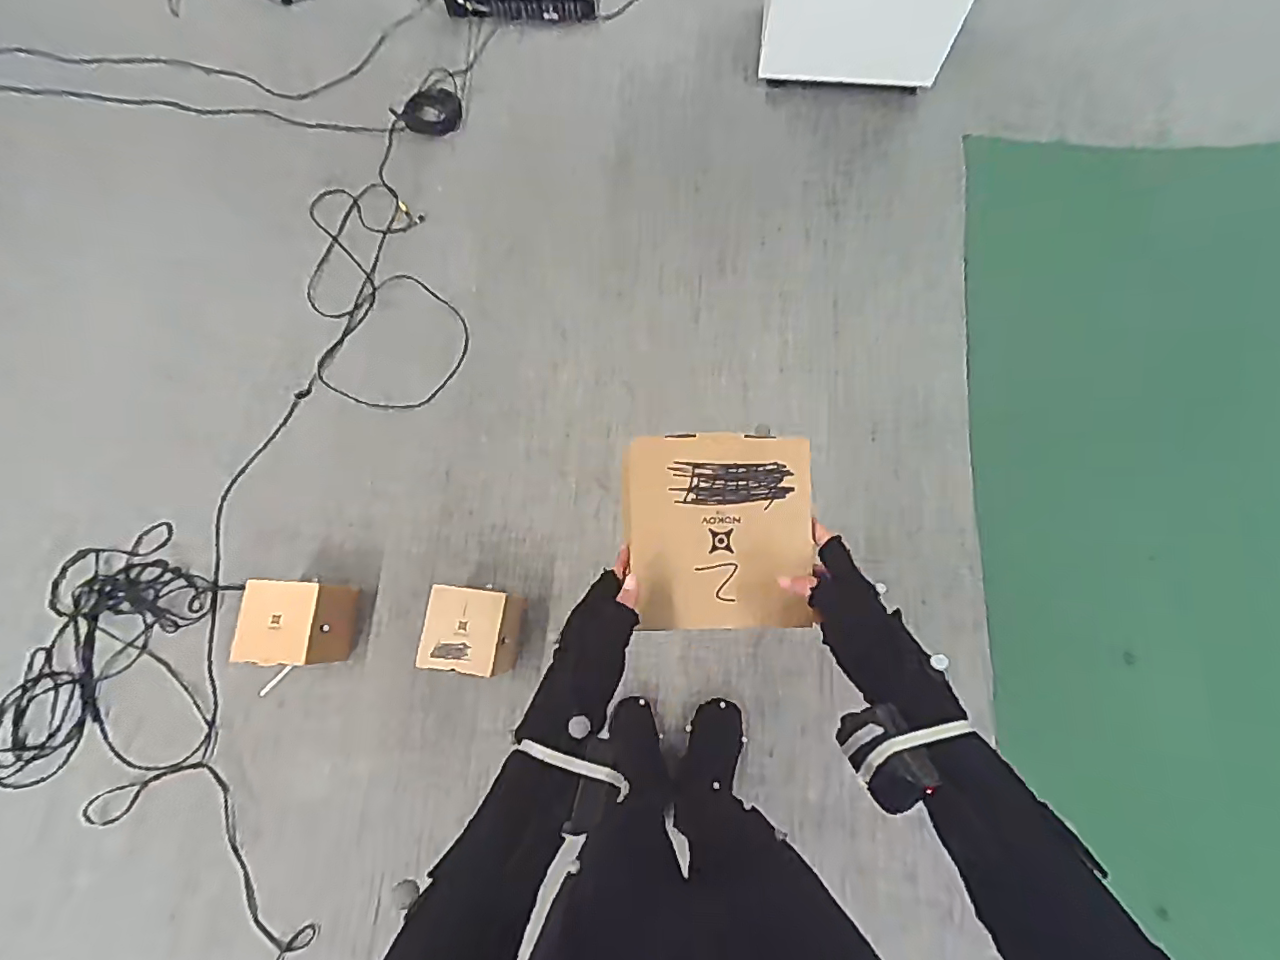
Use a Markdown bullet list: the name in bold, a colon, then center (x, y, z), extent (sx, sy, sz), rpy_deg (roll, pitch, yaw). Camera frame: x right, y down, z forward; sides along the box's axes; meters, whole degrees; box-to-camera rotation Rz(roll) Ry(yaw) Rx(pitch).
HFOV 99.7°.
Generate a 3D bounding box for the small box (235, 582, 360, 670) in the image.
- **small box**: center (-0.774, 0.334, 1.244), extent (0.168, 0.176, 0.179), rpy_deg (2, 76, 3)

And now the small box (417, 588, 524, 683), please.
- **small box**: center (-0.372, 0.347, 1.222), extent (0.168, 0.176, 0.179), rpy_deg (7, 75, 5)
